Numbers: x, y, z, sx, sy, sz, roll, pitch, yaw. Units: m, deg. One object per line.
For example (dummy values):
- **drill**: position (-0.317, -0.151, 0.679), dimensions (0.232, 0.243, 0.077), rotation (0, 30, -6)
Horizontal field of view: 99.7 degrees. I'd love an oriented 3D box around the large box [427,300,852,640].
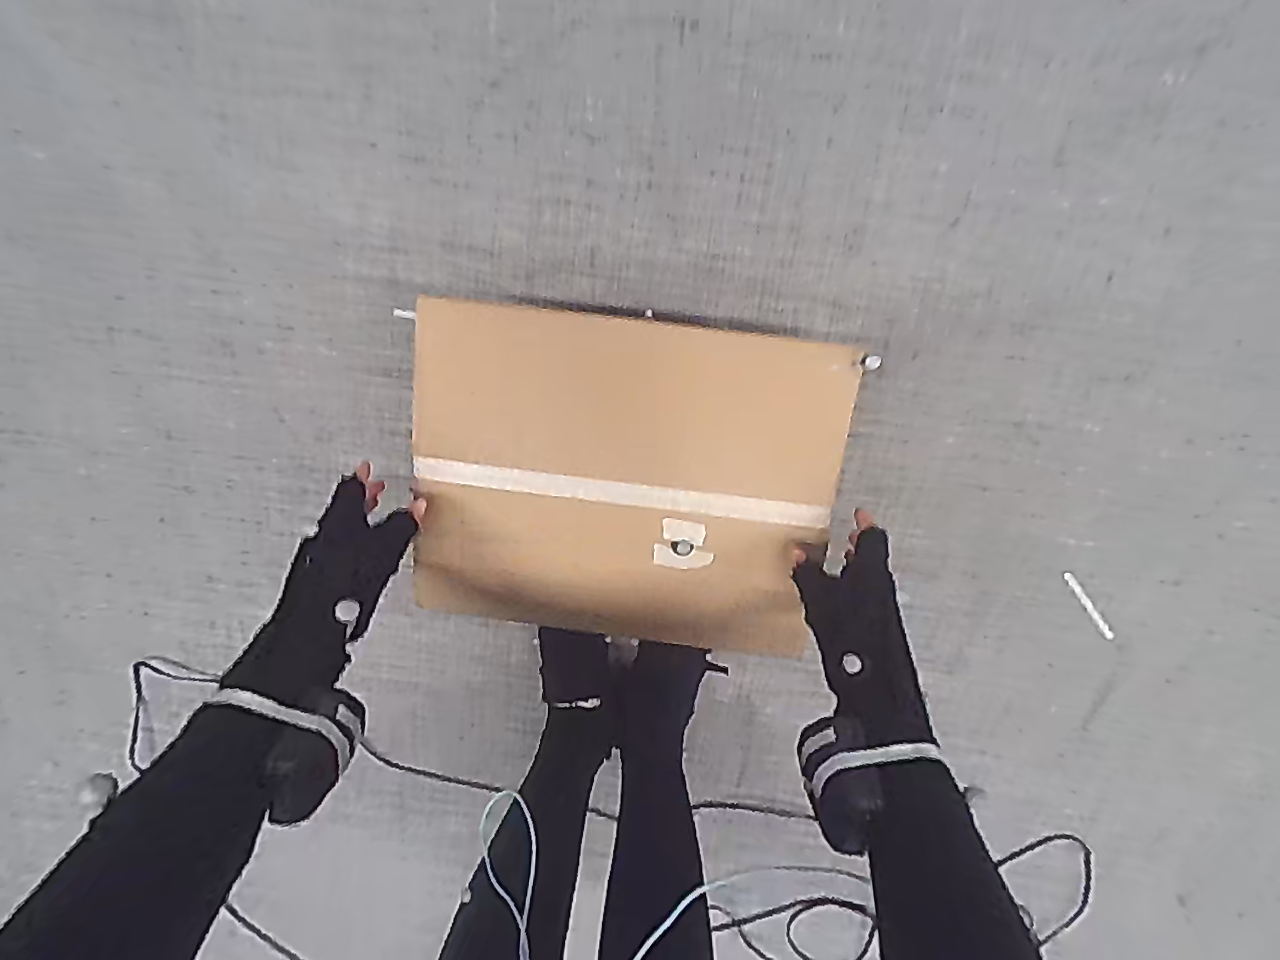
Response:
- **large box**: position (-0.009, -0.032, 0.682), dimensions (0.408, 0.320, 0.320), rotation (7, 104, 1)
